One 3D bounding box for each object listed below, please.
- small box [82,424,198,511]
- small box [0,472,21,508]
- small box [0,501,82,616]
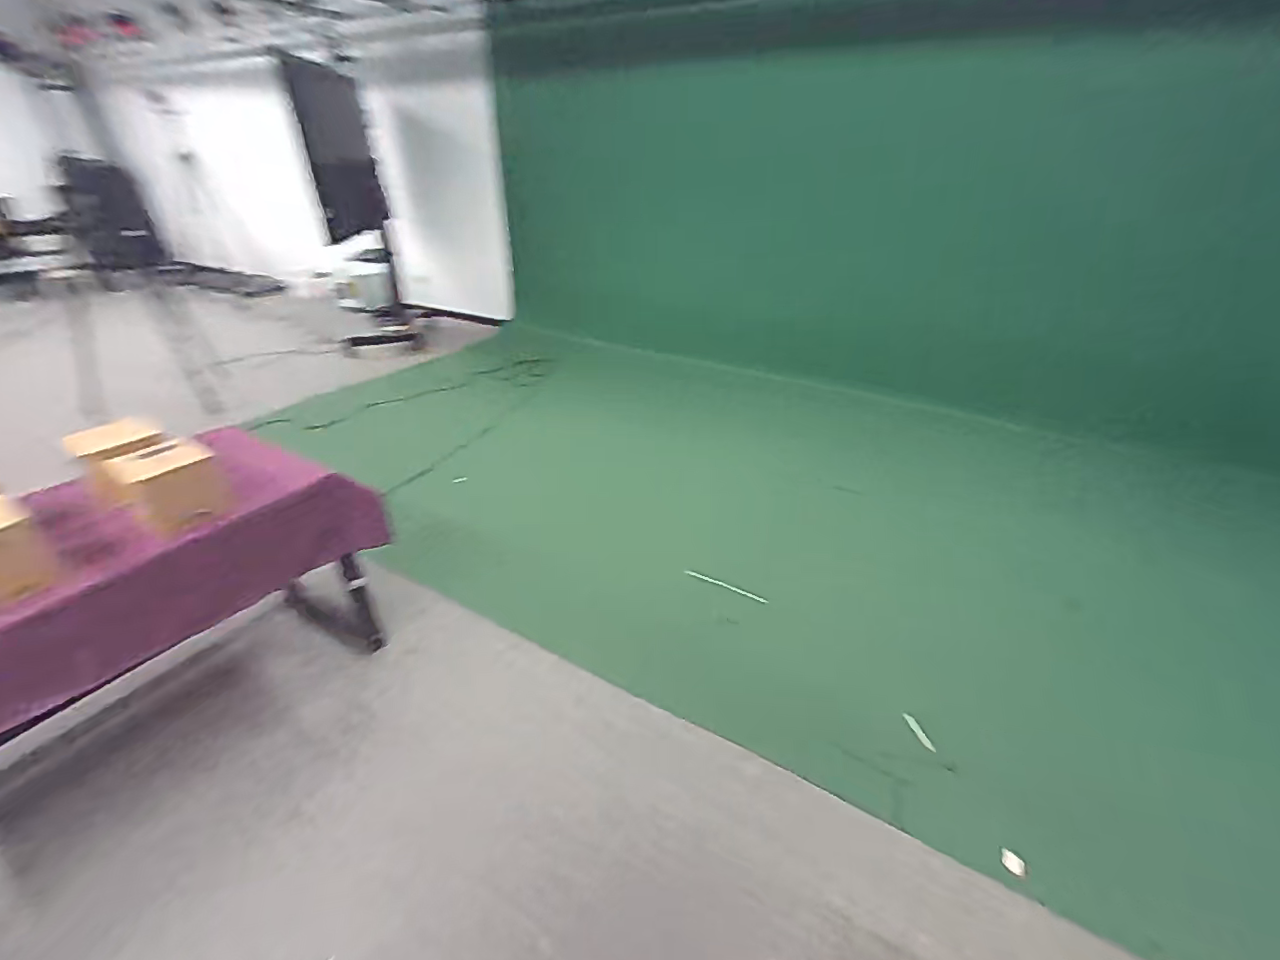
[{"bbox_3d":[-1.389,-0.034,1.512,0.179,0.176,0.168,19,36,30],"label":"small box"},{"bbox_3d":[-1.569,0.107,1.276,0.168,0.176,0.179,20,36,29],"label":"small box"},{"bbox_3d":[-1.360,0.175,1.157,0.179,0.176,0.168,17,35,29],"label":"small box"}]
